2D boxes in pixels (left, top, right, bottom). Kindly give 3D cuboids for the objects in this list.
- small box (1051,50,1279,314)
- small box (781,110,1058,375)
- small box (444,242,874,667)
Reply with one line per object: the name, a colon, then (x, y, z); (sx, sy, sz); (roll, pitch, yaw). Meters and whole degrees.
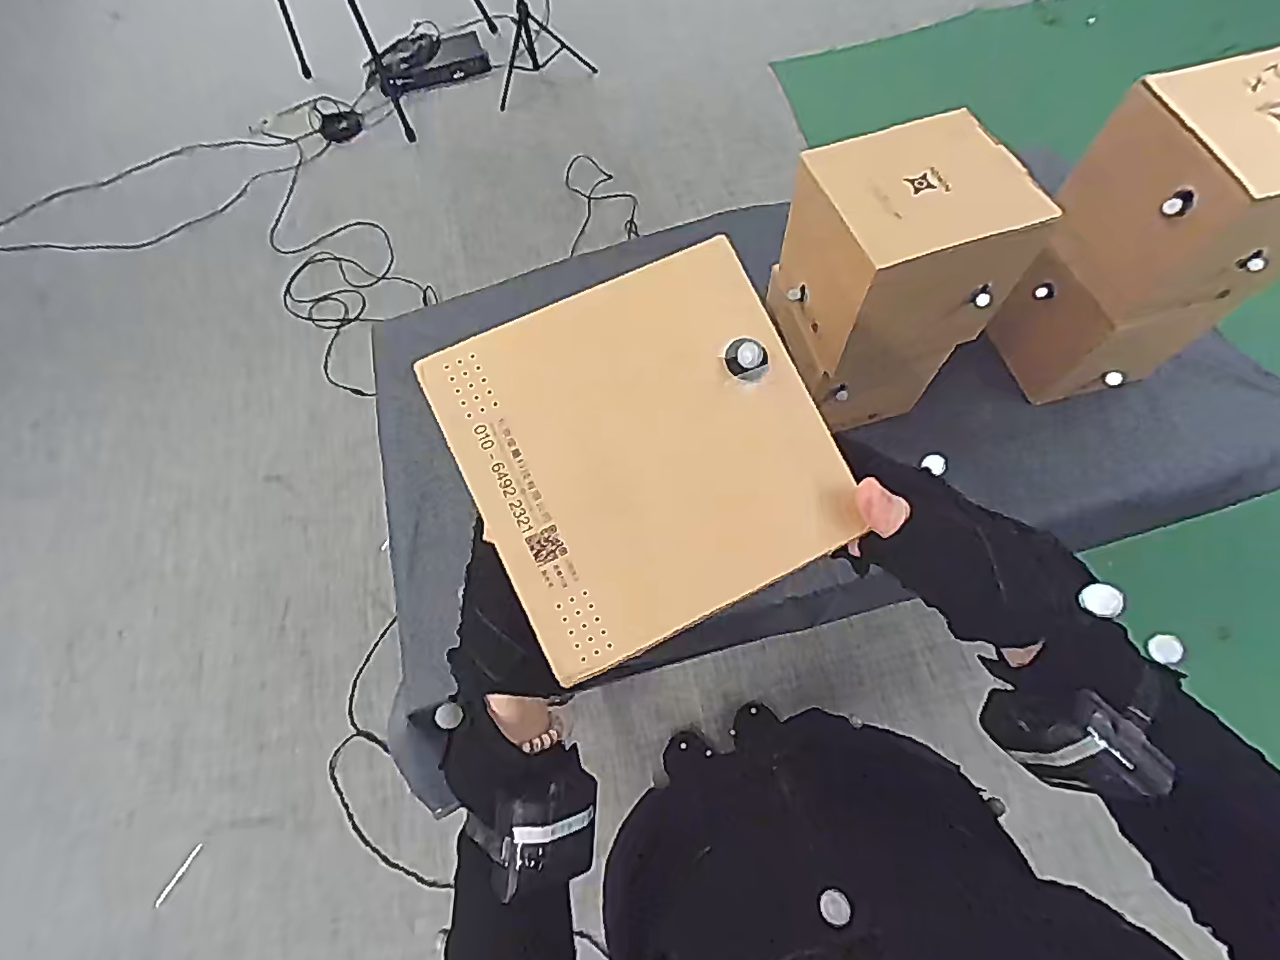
small box: (0.585, -0.296, 0.566); (0.168, 0.176, 0.179); (-12, 65, 0)
small box: (0.269, -0.240, 0.573); (0.179, 0.176, 0.168); (-16, 65, -2)
small box: (-0.002, -0.006, 0.340); (0.176, 0.179, 0.168); (-26, 85, -9)
